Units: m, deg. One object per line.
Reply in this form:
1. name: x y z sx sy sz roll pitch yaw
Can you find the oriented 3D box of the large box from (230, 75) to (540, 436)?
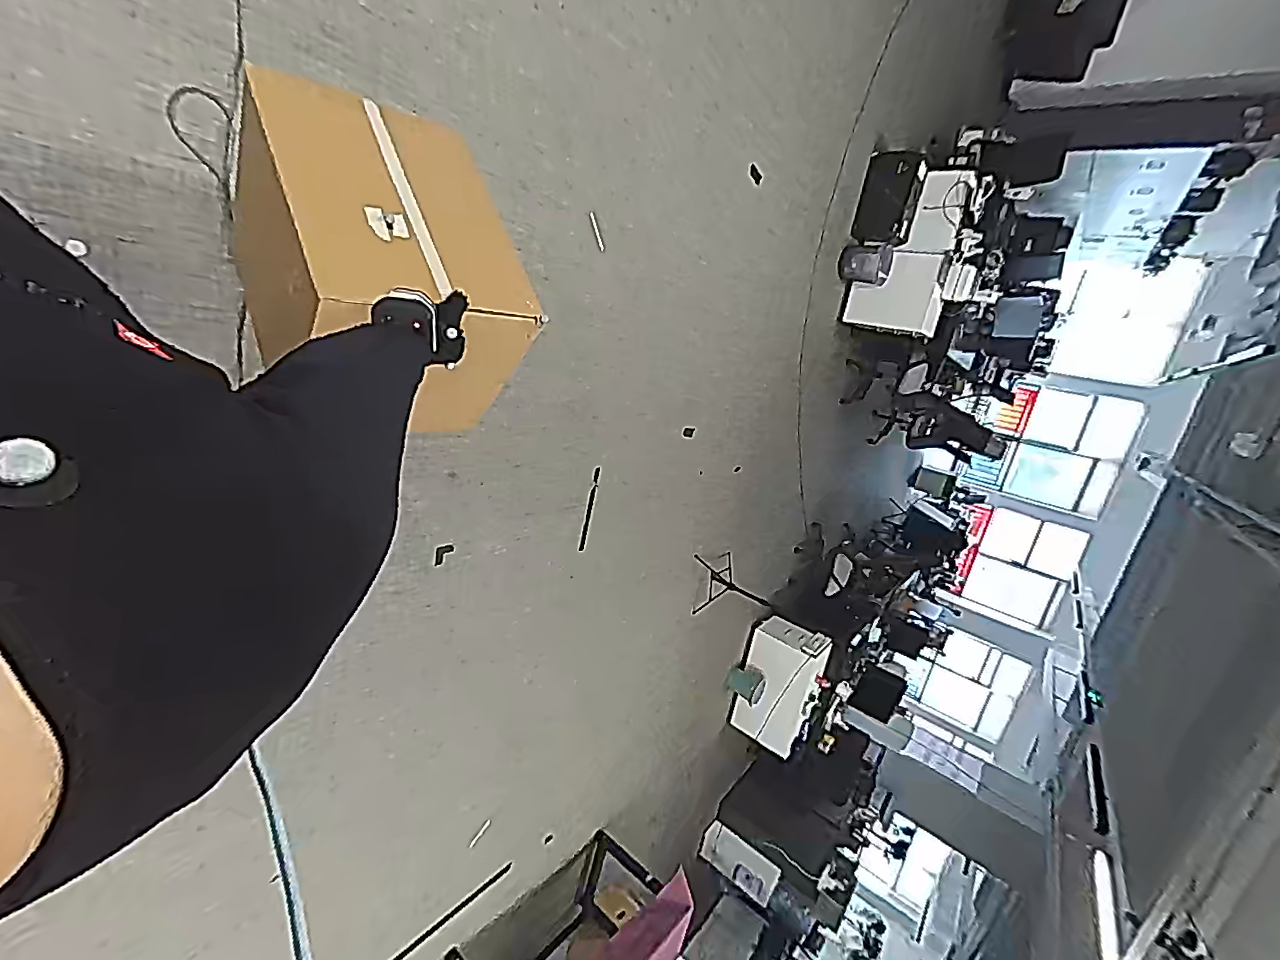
1. large box: -0.431 -0.327 0.887 0.320 0.408 0.320 -11 161 -44
